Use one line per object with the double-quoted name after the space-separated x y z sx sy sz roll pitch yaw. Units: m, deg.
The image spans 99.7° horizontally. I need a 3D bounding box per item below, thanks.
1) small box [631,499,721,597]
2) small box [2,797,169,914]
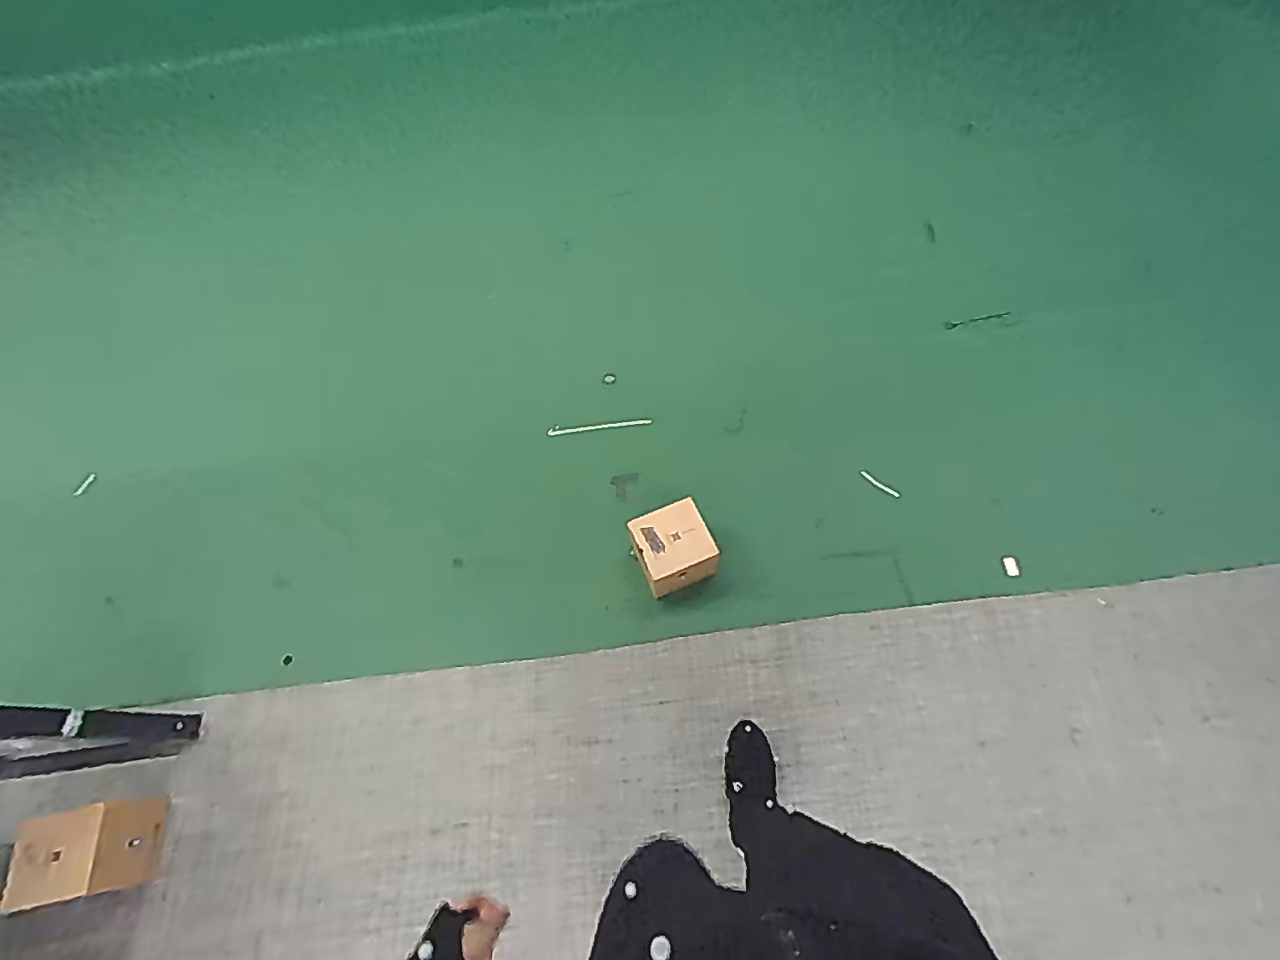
0.090 0.180 1.381 0.179 0.176 0.168 -22 65 -7 "small box"
-1.183 0.802 1.173 0.179 0.176 0.168 -12 63 -2 "small box"
